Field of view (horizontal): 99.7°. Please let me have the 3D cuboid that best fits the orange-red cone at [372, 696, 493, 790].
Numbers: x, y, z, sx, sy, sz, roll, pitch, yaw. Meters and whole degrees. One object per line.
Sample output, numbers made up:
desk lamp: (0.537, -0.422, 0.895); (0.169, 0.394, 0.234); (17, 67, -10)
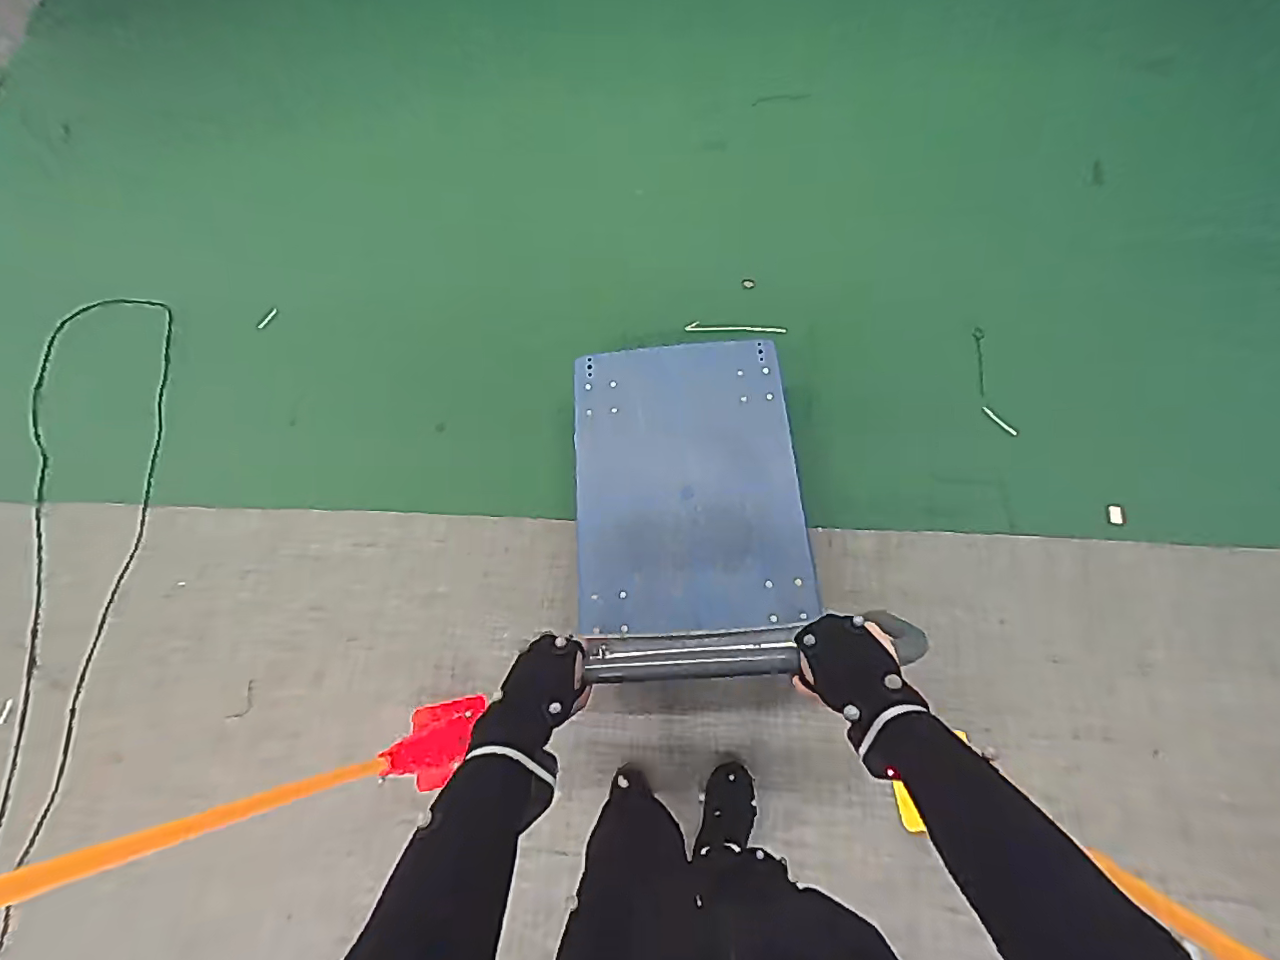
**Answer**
orange-red cone: (-0.495, 0.615, 1.223); (0.199, 0.360, 0.198); (-13, 70, 2)
